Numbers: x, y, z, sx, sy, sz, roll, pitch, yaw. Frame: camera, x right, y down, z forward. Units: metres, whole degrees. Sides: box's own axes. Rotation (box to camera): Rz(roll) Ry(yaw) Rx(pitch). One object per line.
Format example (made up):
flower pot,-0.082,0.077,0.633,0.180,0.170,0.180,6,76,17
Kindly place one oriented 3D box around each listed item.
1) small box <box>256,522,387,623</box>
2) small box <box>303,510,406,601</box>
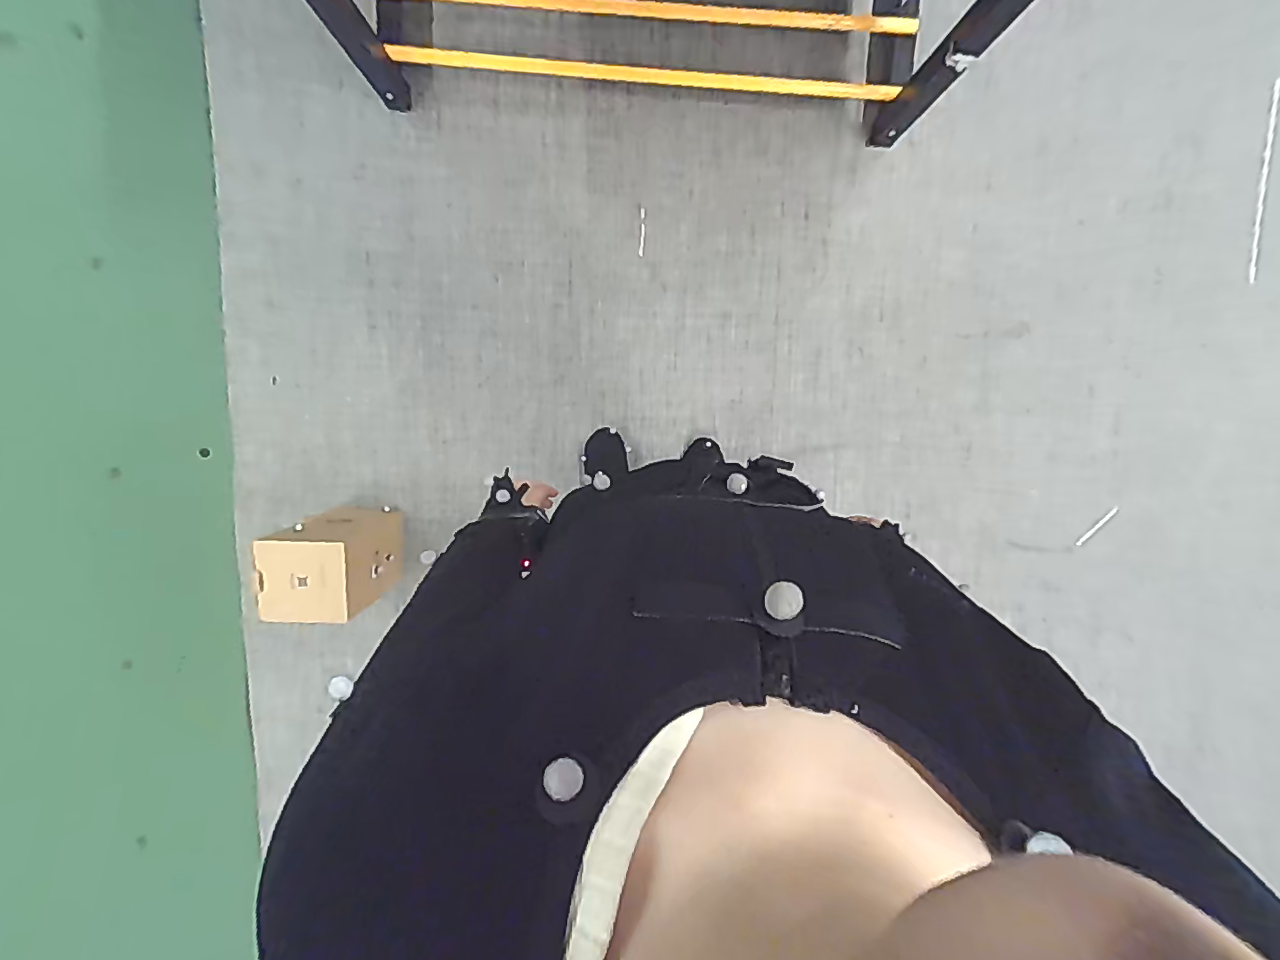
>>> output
small box,-0.650,0.185,1.119,0.179,0.176,0.168,0,98,-2
small box,-0.669,0.171,1.281,0.168,0.176,0.179,4,97,-2
